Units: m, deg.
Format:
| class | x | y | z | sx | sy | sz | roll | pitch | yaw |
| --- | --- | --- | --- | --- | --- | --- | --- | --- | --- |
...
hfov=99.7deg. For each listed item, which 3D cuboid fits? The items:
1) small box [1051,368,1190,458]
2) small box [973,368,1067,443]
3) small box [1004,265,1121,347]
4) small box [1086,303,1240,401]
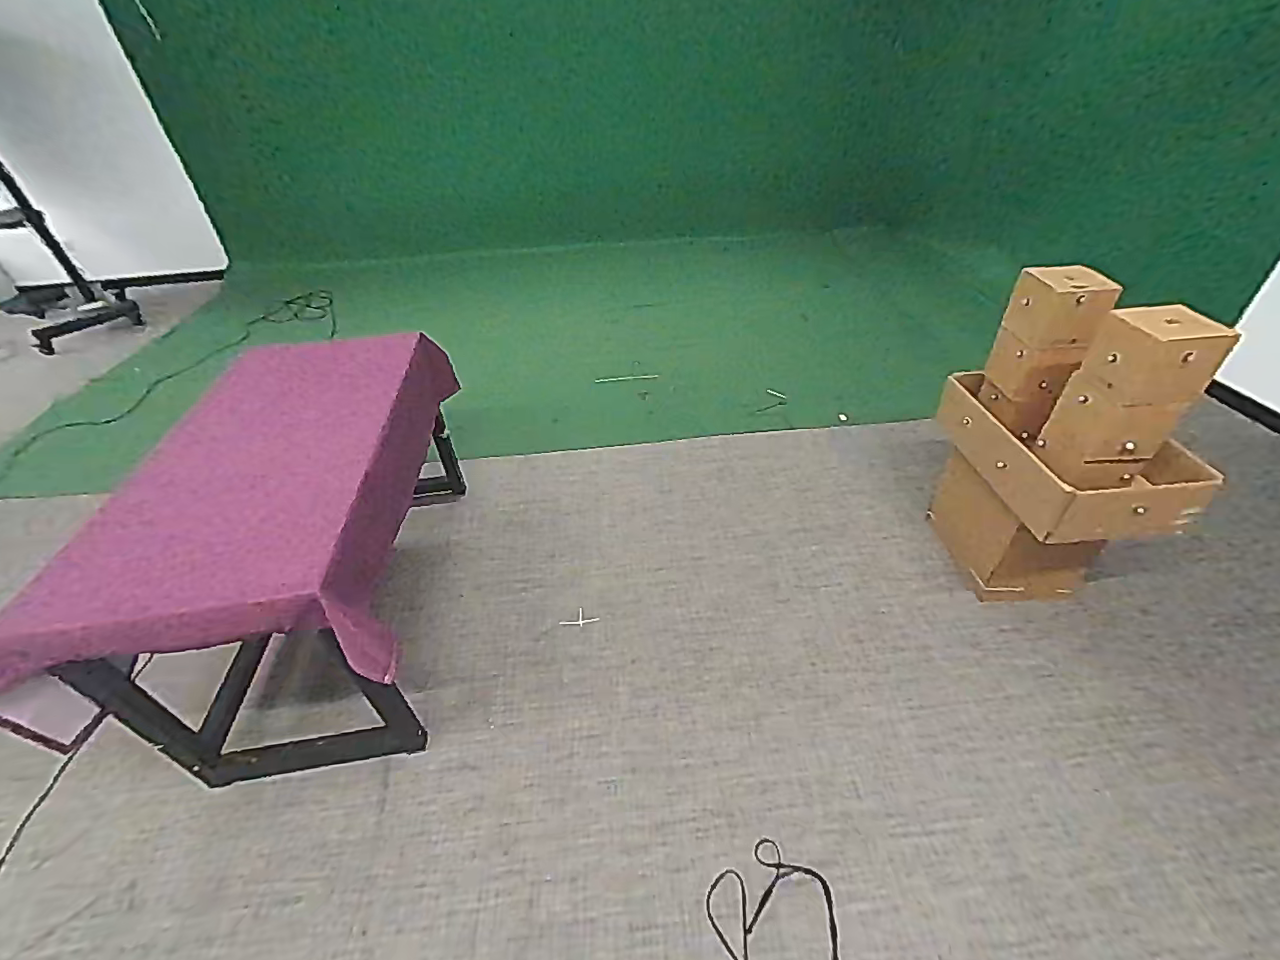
| class | x | y | z | sx | sy | sz | roll | pitch | yaw |
| --- | --- | --- | --- | --- | --- | --- | --- | --- | --- |
| small box | 1.204 | -0.174 | 1.376 | 0.168 | 0.176 | 0.179 | -3 | 40 | 2 |
| small box | 1.198 | -0.236 | 1.713 | 0.168 | 0.176 | 0.179 | -4 | 40 | 1 |
| small box | 1.159 | -0.484 | 1.504 | 0.168 | 0.176 | 0.179 | -4 | 39 | 2 |
| small box | 1.200 | -0.297 | 1.265 | 0.179 | 0.176 | 0.168 | -4 | 40 | 0 |
